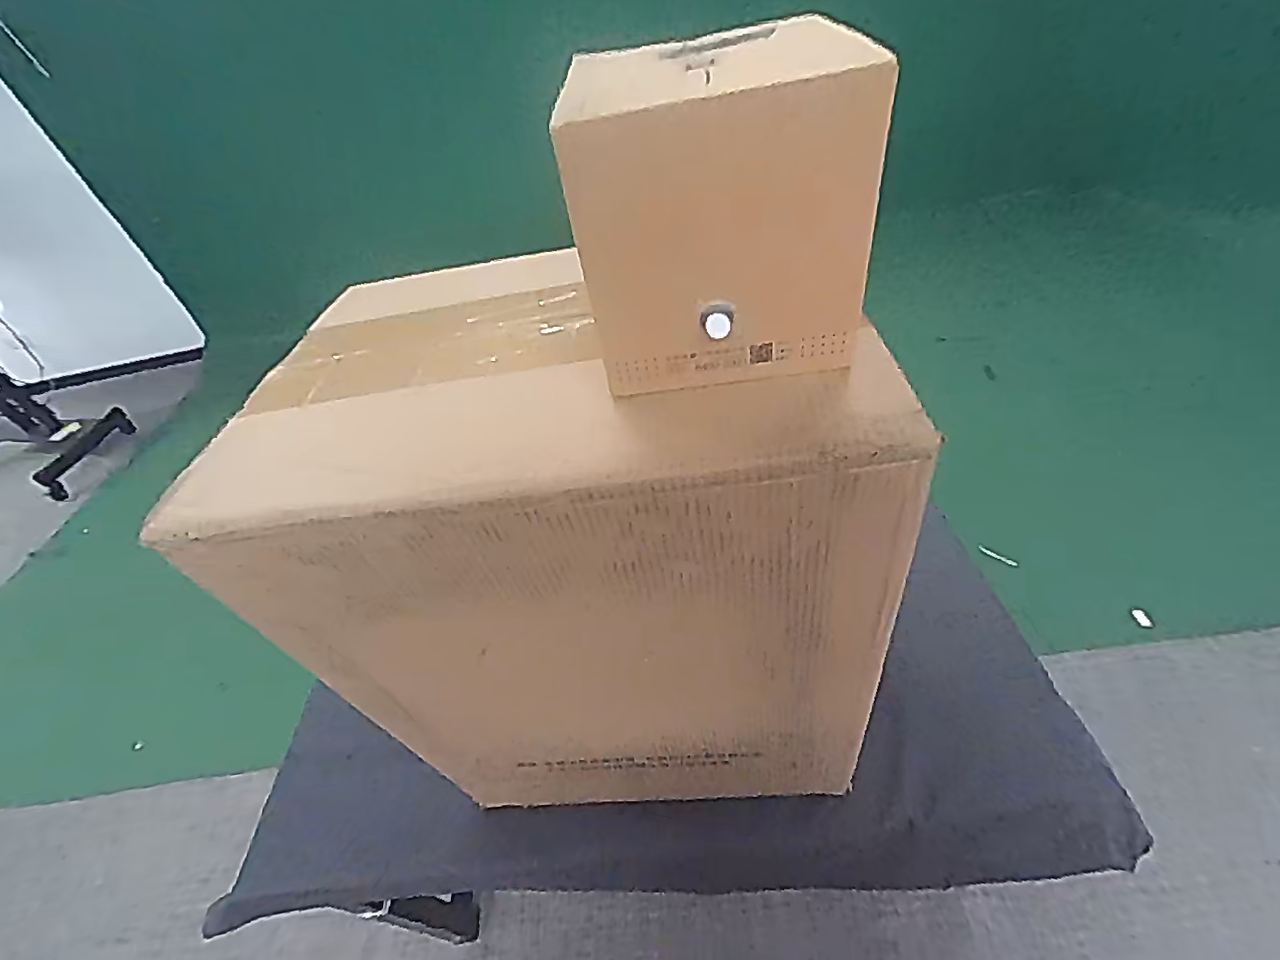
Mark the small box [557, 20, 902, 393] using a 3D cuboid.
[{"bbox_3d":[0.051,-0.182,0.369,0.168,0.176,0.179,-6,47,6],"label":"small box"}]
